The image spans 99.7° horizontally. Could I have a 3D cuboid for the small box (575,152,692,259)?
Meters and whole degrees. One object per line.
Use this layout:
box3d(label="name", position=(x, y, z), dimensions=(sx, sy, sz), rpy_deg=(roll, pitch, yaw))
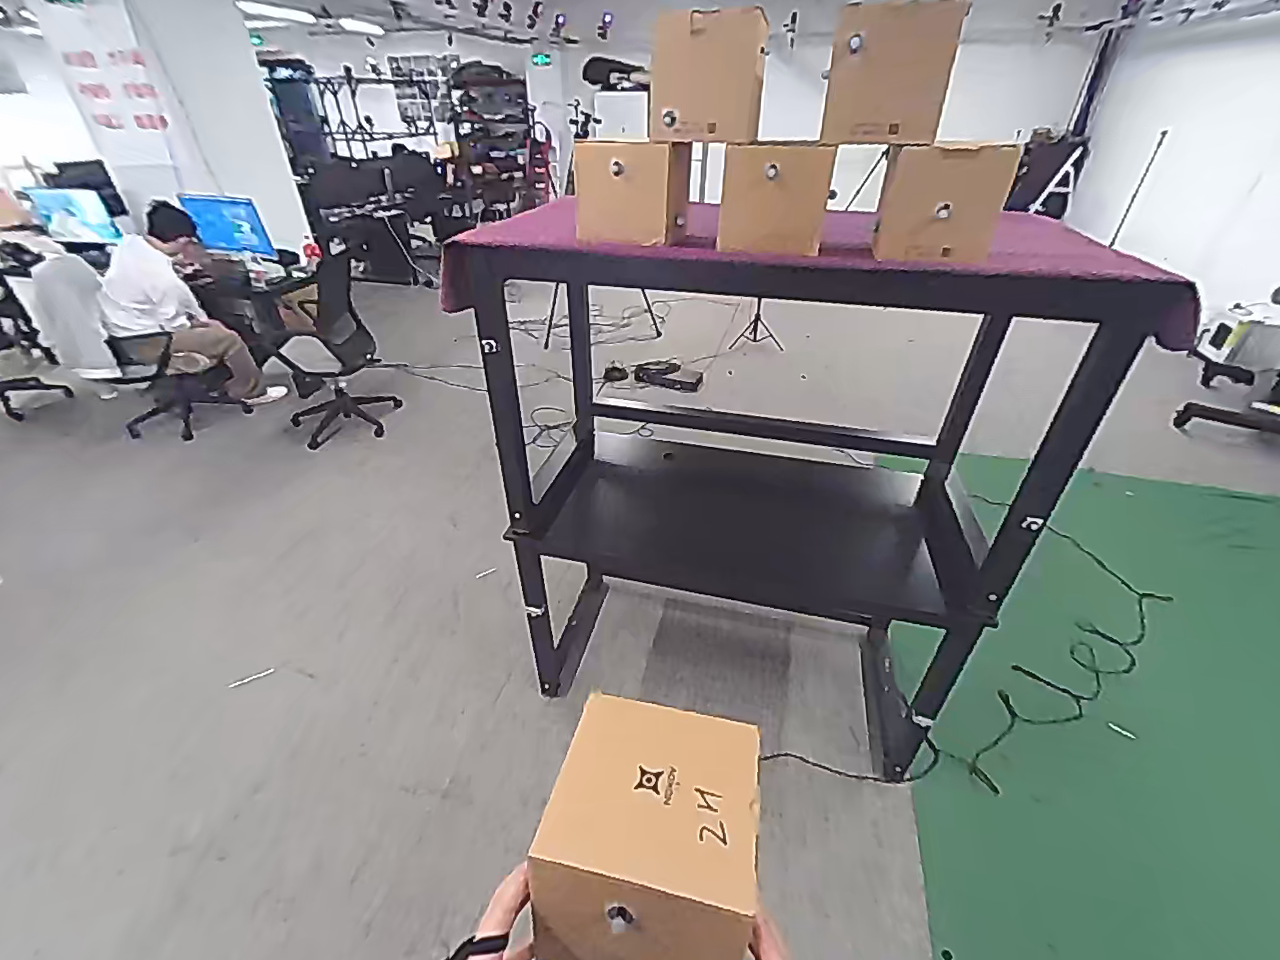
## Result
box3d(label="small box", position=(-0.009, -0.524, 1.030), dimensions=(0.179, 0.176, 0.168), rpy_deg=(11, 35, 15))

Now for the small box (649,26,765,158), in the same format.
box3d(label="small box", position=(0.116, -0.650, 0.924), dimensions=(0.168, 0.176, 0.179), rpy_deg=(8, 33, 12))

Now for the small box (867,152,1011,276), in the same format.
box3d(label="small box", position=(0.492, -0.455, 0.920), dimensions=(0.168, 0.176, 0.179), rpy_deg=(10, 35, 14))

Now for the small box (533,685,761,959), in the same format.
box3d(label="small box", position=(0.013, 0.331, 0.511), dimensions=(0.179, 0.176, 0.168), rpy_deg=(9, 26, 10))

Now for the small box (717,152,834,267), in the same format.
box3d(label="small box", position=(0.239, -0.487, 0.975), dimensions=(0.179, 0.176, 0.168), rpy_deg=(7, 34, 11))
